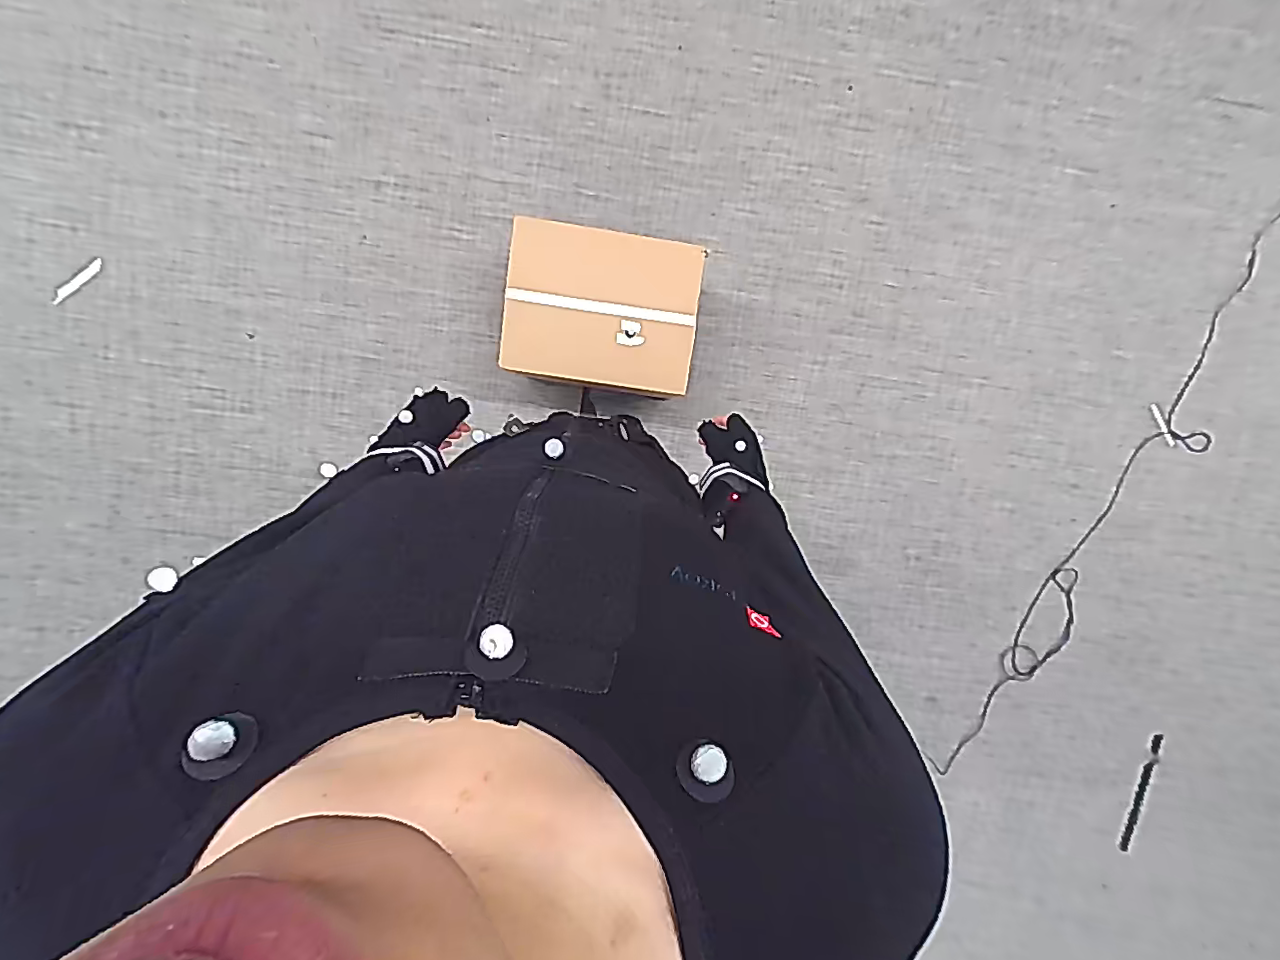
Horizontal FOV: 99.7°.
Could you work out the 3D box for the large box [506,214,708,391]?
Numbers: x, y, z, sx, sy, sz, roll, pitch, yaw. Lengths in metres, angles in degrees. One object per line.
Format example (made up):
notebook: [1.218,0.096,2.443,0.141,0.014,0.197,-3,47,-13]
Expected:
large box: [-0.081,-0.393,1.284,0.408,0.320,0.320,7,98,-4]
